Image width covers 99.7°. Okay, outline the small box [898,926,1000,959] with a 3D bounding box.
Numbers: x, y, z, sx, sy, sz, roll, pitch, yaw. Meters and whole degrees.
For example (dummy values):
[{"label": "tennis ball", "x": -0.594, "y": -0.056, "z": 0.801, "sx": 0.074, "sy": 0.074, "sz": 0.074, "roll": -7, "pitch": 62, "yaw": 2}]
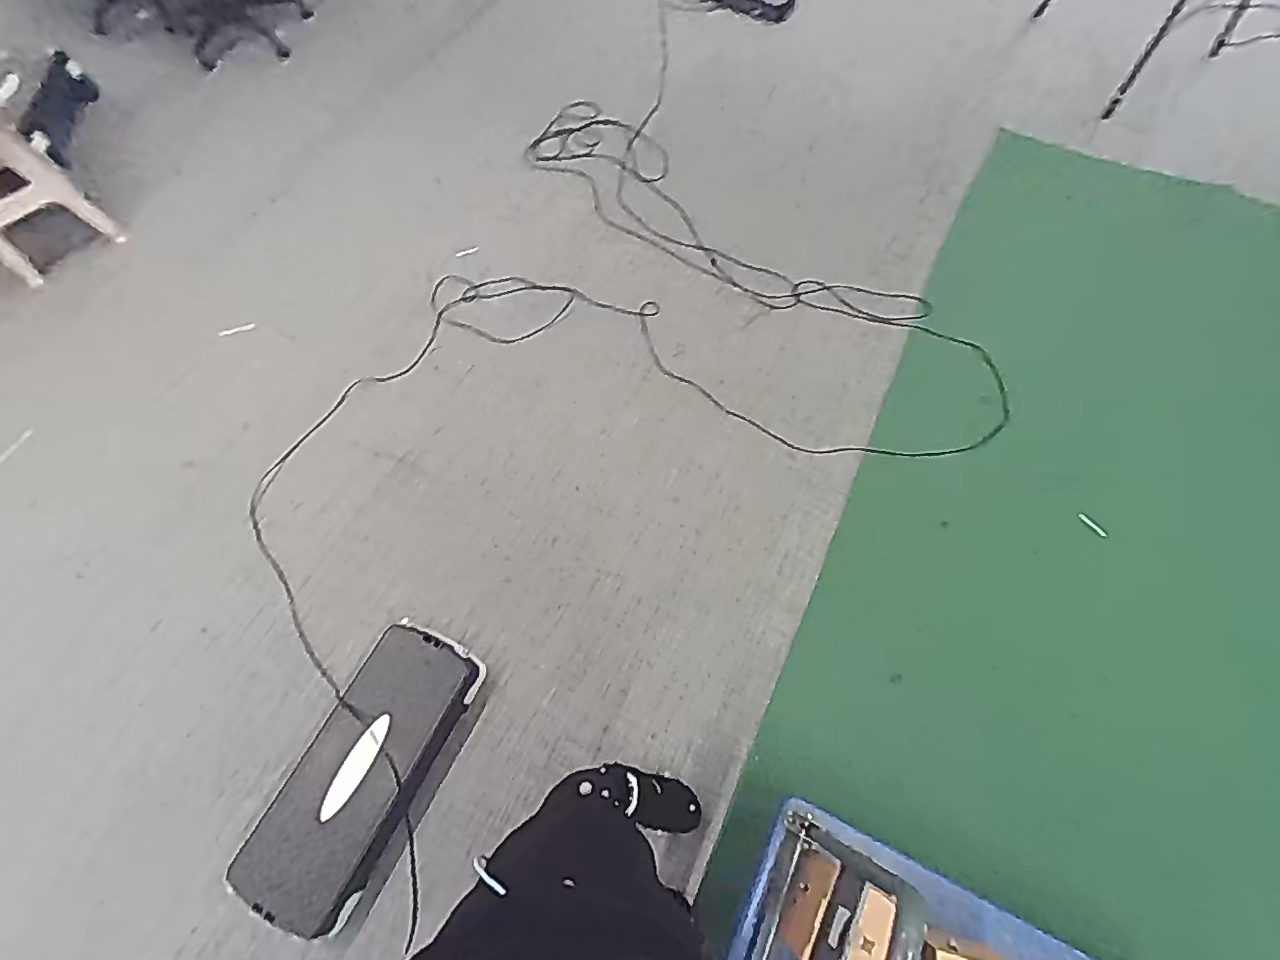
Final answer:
[{"label": "small box", "x": 0.576, "y": 0.942, "z": 0.970, "sx": 0.179, "sy": 0.176, "sz": 0.168, "roll": 13, "pitch": 67, "yaw": 7}]
